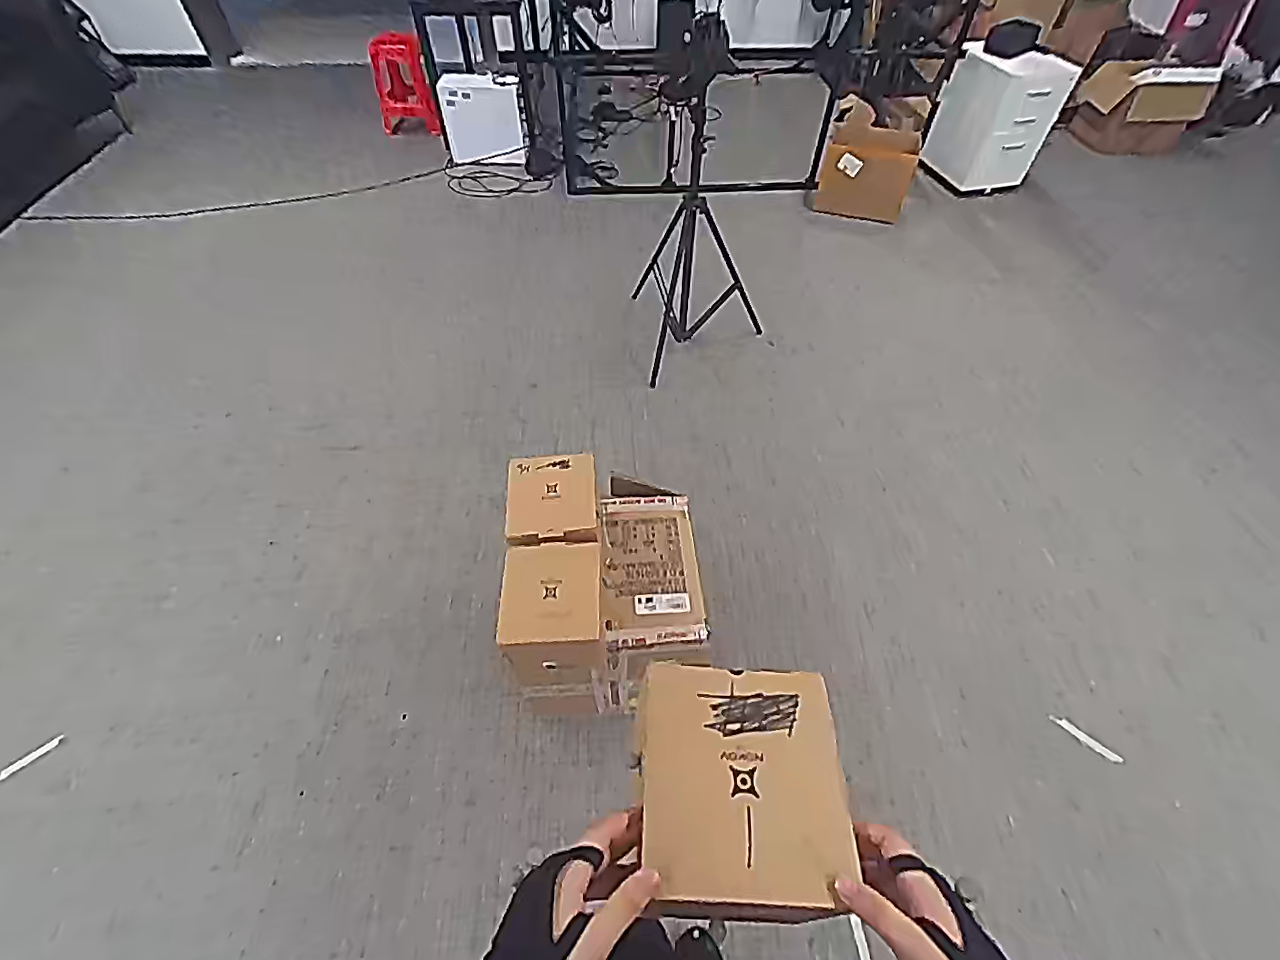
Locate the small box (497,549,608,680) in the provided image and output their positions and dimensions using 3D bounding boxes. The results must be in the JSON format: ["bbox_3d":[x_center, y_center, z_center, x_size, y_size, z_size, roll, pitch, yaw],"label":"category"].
[{"bbox_3d":[-0.145,0.241,0.959,0.168,0.176,0.179,-3,55,-1],"label":"small box"}]

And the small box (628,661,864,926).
[{"bbox_3d":[0.078,0.291,0.502,0.168,0.176,0.179,5,48,-2],"label":"small box"}]
